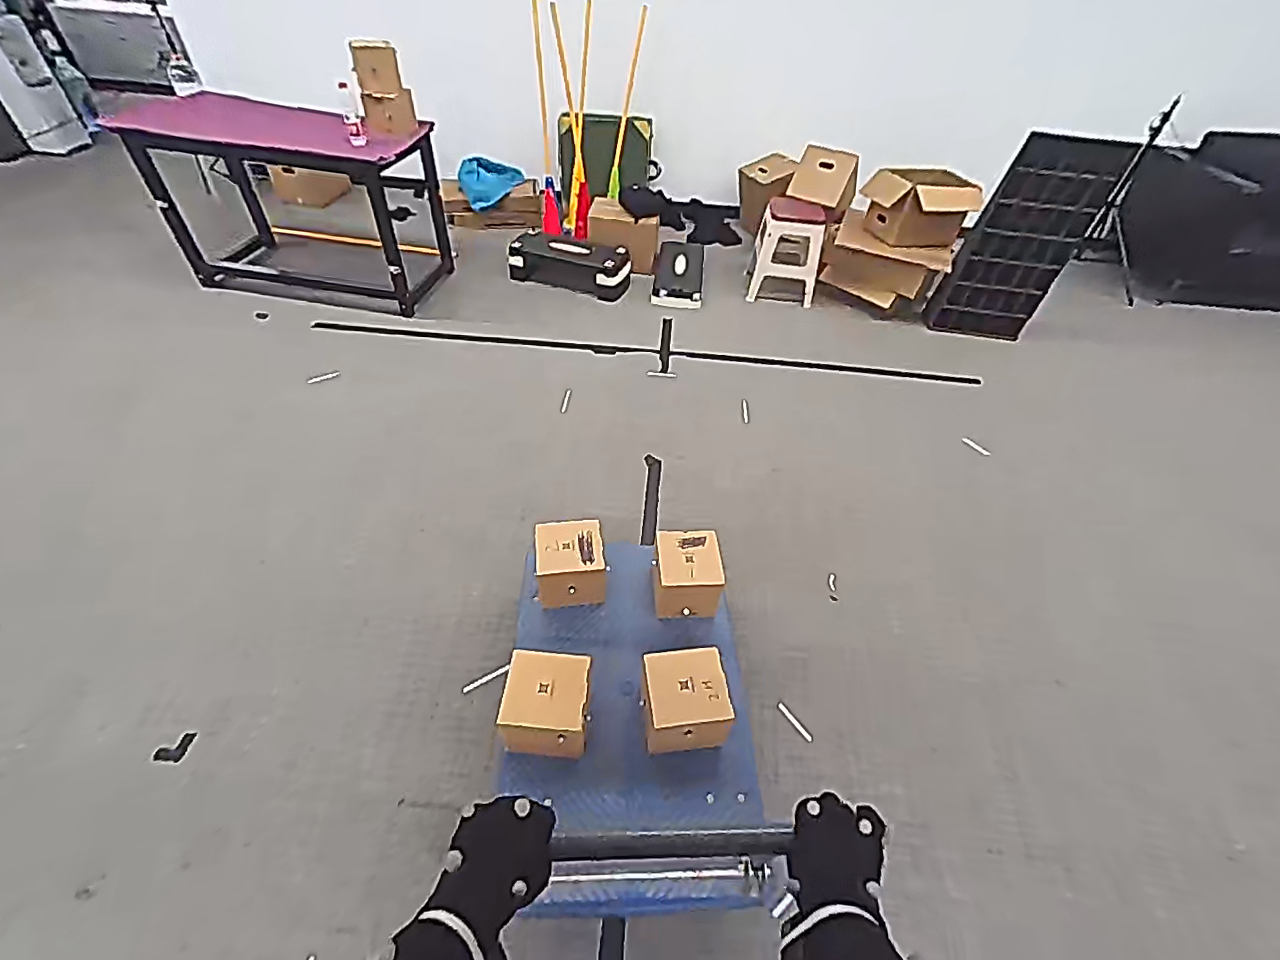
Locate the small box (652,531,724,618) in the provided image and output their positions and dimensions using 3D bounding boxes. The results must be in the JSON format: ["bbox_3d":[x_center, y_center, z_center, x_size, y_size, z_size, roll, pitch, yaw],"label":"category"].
[{"bbox_3d":[0.125,0.260,1.487,0.168,0.176,0.179,0,47,-5],"label":"small box"}]

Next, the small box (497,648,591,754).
[{"bbox_3d":[-0.210,0.503,1.224,0.179,0.176,0.168,6,45,-1],"label":"small box"}]

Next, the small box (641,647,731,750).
[{"bbox_3d":[0.096,0.507,1.247,0.179,0.176,0.168,-3,47,-8],"label":"small box"}]
